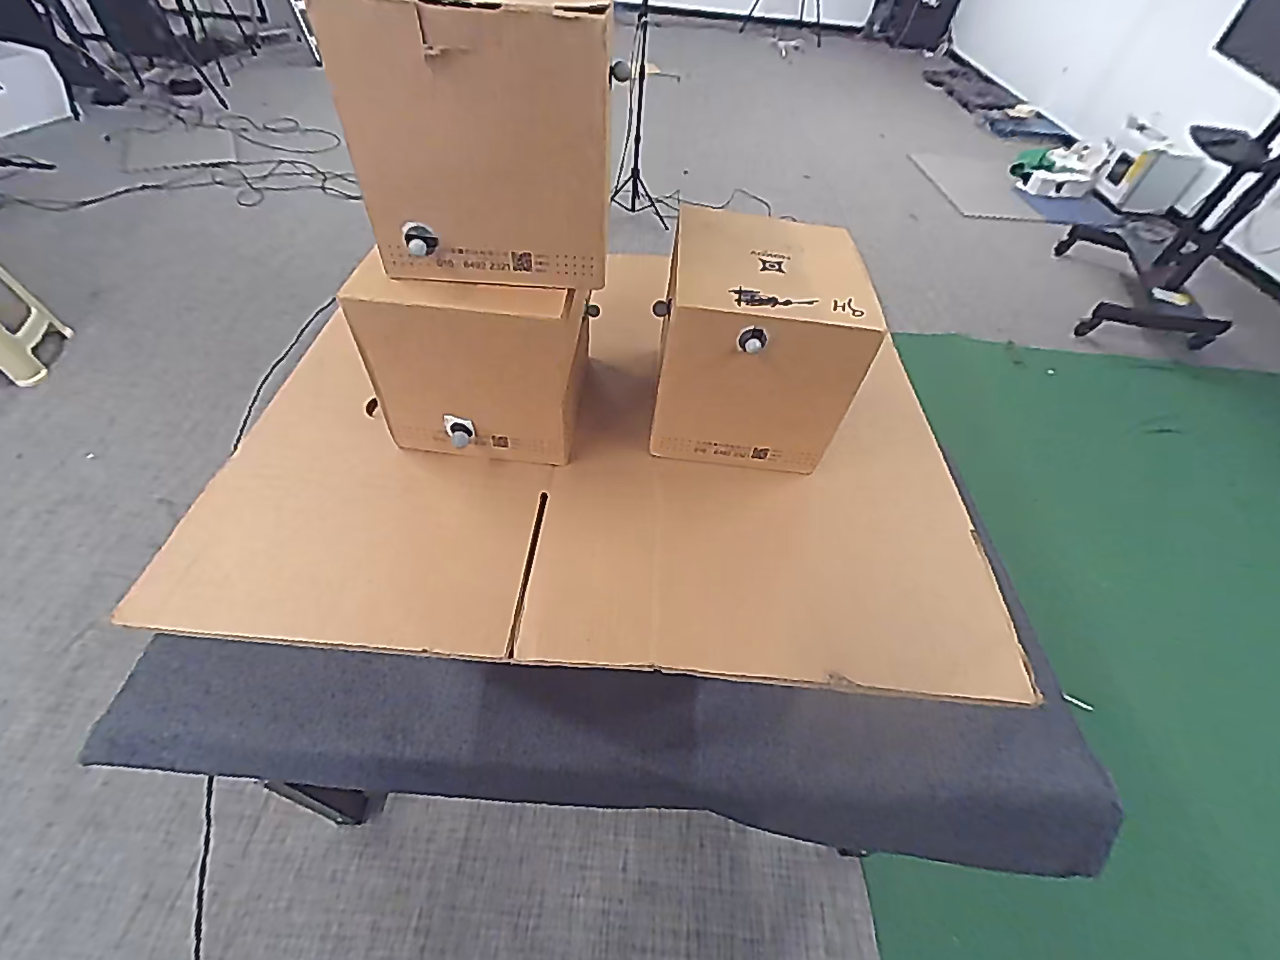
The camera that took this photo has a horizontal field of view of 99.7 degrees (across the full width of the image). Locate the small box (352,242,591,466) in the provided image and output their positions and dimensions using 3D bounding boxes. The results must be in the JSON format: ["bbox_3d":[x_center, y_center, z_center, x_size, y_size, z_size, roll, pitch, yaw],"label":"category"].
[{"bbox_3d":[-0.137,-0.137,0.520,0.168,0.176,0.179,5,51,-1],"label":"small box"}]

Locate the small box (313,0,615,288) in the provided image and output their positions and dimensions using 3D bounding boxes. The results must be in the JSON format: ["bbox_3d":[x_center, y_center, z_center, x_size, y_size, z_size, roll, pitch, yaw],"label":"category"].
[{"bbox_3d":[-0.105,-0.266,0.416,0.168,0.176,0.179,3,48,-3],"label":"small box"}]

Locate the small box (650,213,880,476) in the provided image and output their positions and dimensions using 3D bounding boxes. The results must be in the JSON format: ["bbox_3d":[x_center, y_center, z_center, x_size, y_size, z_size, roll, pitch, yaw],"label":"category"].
[{"bbox_3d":[0.103,-0.130,0.529,0.168,0.176,0.179,7,49,-1],"label":"small box"}]
